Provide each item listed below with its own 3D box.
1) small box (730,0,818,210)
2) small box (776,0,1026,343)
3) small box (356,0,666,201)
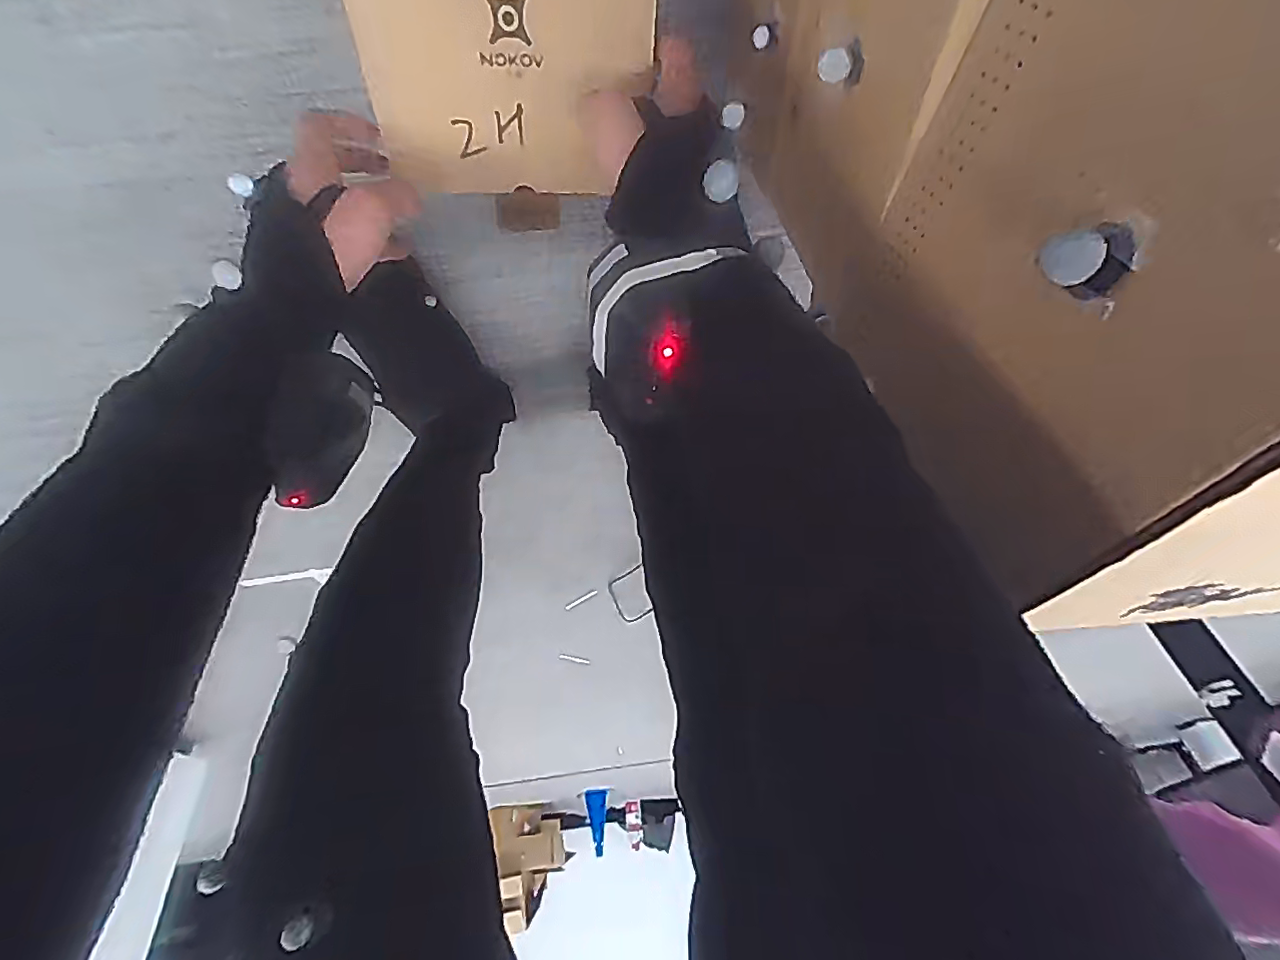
[{"bbox_3d":[0.166,-0.322,0.382,0.168,0.176,0.179,-6,143,-3],"label":"small box"},{"bbox_3d":[0.187,-0.193,0.286,0.179,0.176,0.168,-5,143,-4],"label":"small box"},{"bbox_3d":[-0.078,-0.308,0.348,0.168,0.176,0.179,-3,143,-7],"label":"small box"}]
